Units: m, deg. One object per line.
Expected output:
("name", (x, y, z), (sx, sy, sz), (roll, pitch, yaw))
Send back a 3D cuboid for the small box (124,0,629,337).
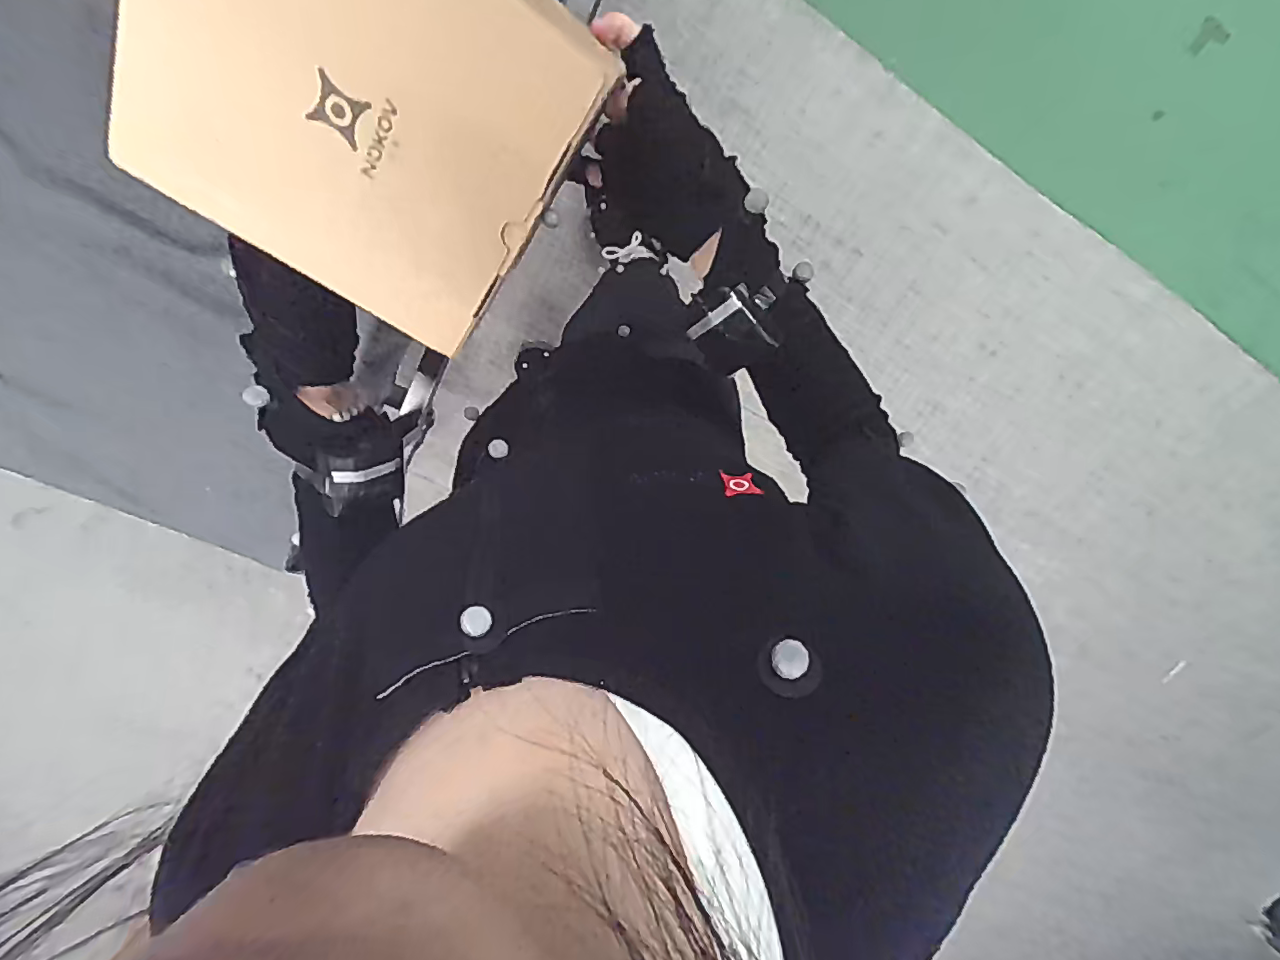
("small box", (-0.122, -0.220, 0.304), (0.179, 0.176, 0.168), (30, 123, -22))
